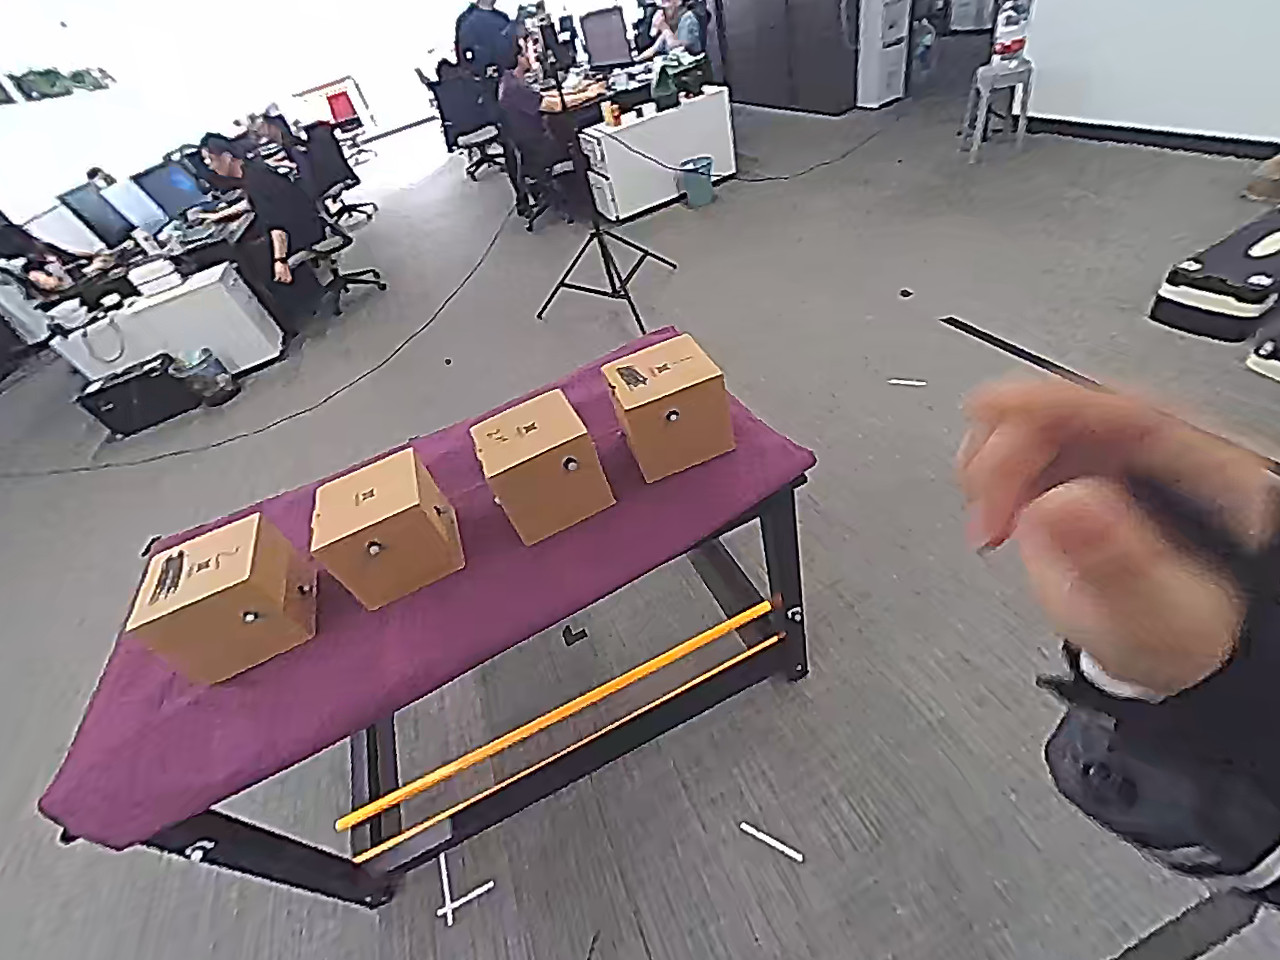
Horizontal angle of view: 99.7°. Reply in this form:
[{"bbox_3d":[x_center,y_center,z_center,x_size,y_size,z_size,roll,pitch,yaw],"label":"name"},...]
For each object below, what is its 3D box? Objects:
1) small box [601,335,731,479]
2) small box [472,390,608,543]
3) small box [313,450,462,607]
[{"bbox_3d":[0.050,-0.130,0.983,0.179,0.176,0.168,-22,41,-3],"label":"small box"},{"bbox_3d":[-0.169,-0.023,0.951,0.179,0.176,0.168,-26,41,-8],"label":"small box"},{"bbox_3d":[-0.425,0.085,0.934,0.179,0.176,0.168,-26,43,-7],"label":"small box"}]
